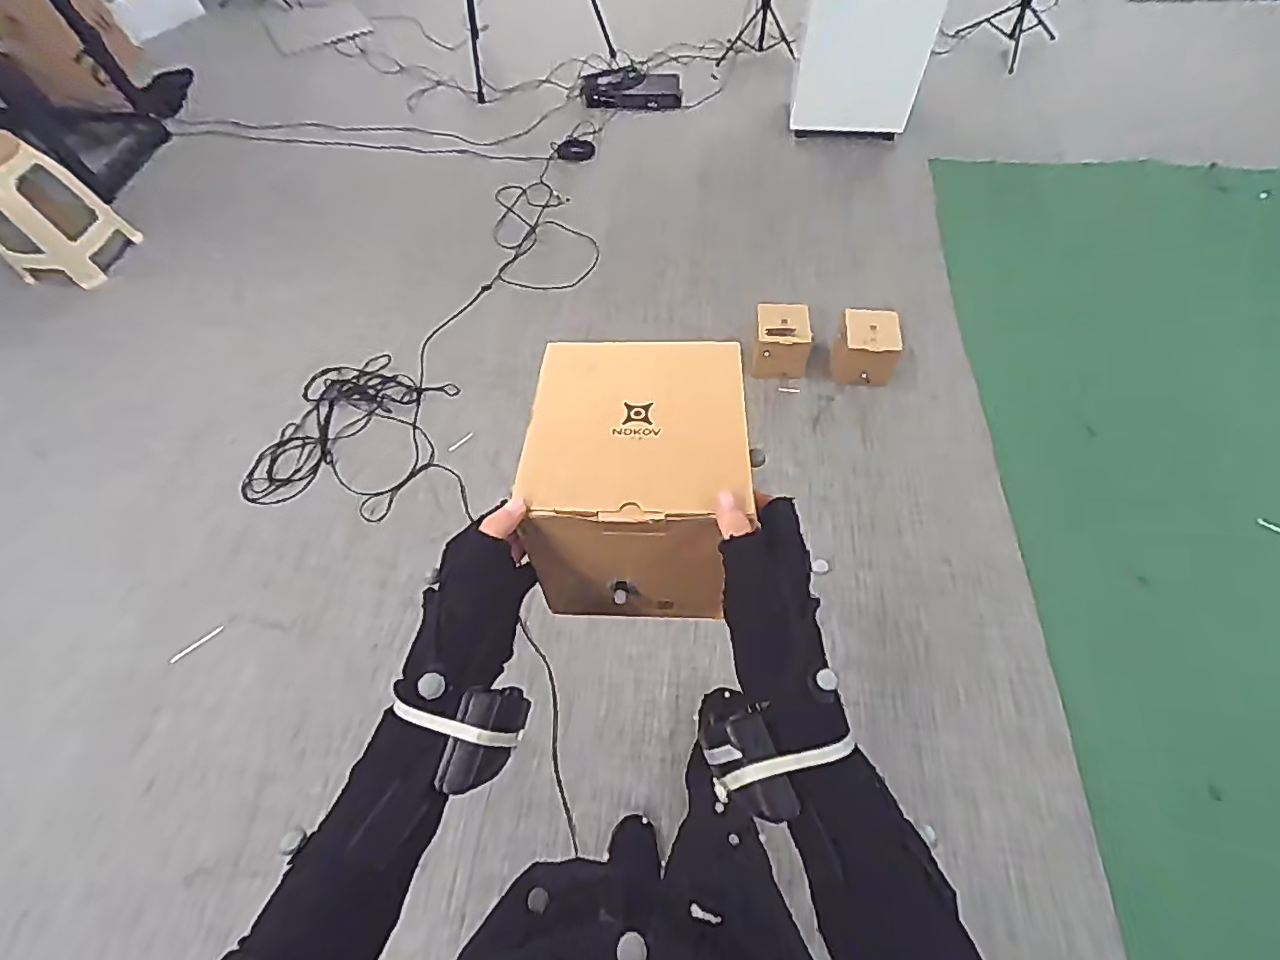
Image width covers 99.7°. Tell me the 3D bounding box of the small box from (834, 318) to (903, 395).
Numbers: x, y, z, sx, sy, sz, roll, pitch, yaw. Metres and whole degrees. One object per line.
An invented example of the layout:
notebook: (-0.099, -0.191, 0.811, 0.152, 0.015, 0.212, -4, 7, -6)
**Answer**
small box: (0.748, -0.408, 1.789, 0.168, 0.176, 0.179, 5, 60, 7)
